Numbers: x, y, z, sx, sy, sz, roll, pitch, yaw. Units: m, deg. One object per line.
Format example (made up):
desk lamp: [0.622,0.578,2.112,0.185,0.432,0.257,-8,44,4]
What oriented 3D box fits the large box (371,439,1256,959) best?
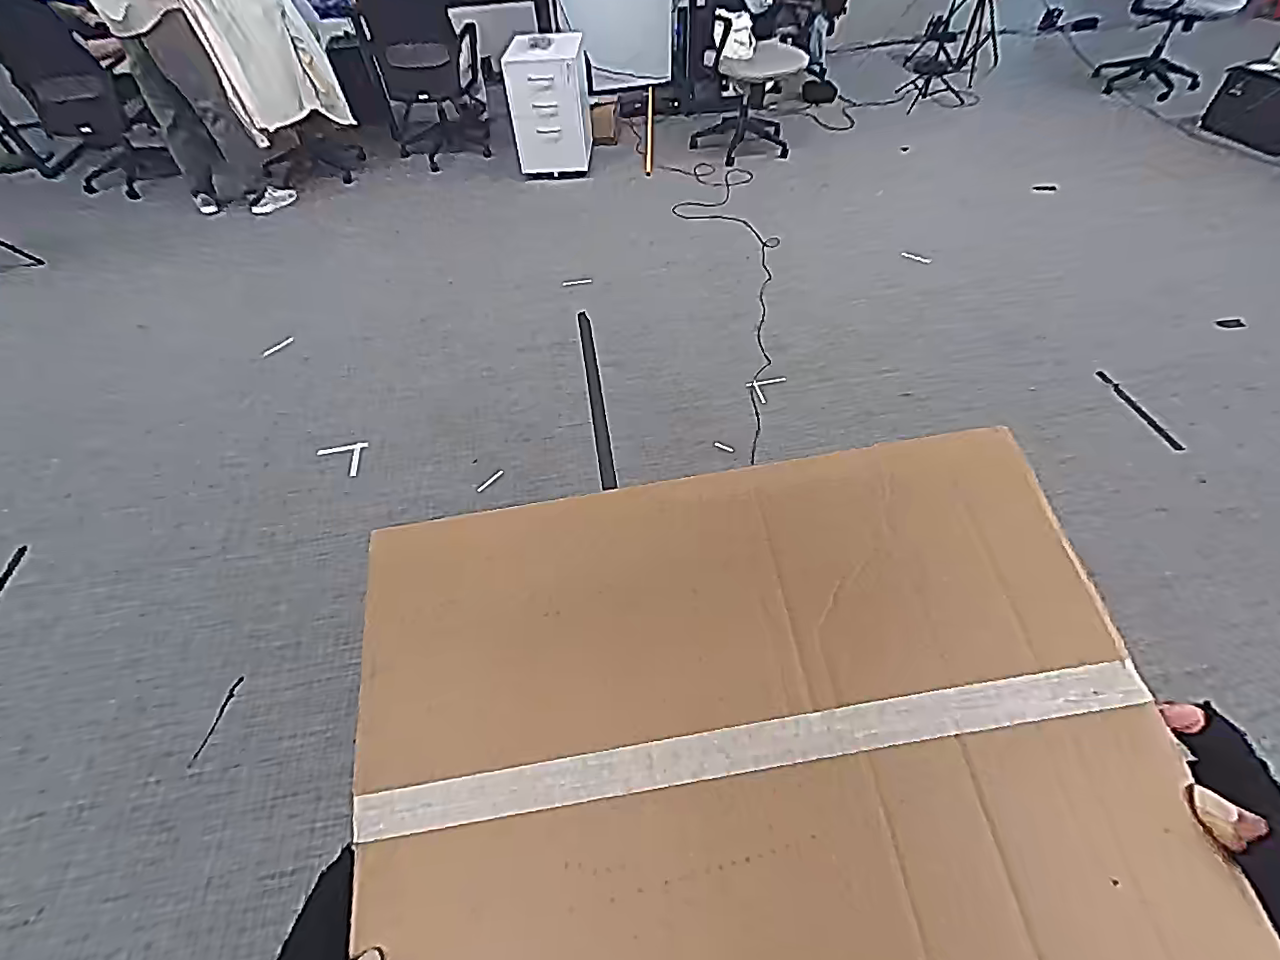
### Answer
large box: [0.065,0.207,0.420,0.408,0.320,0.320,-10,65,-1]
